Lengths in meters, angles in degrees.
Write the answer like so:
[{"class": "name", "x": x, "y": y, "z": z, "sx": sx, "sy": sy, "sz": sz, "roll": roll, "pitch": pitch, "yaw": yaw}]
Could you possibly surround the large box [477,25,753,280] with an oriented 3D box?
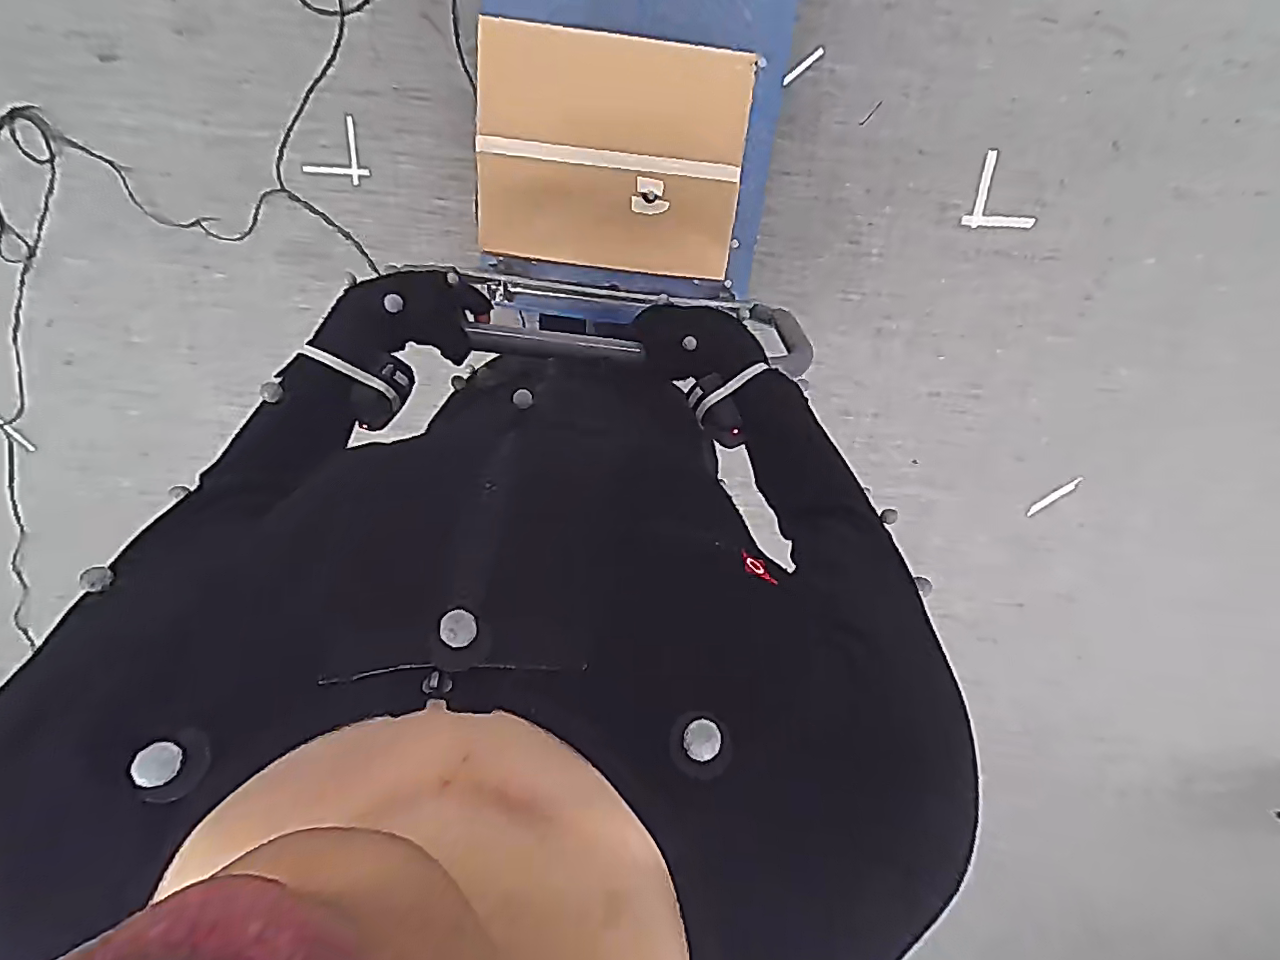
[{"class": "large box", "x": -0.052, "y": -0.539, "z": 0.964, "sx": 0.408, "sy": 0.320, "sz": 0.320, "roll": 5, "pitch": 112, "yaw": -3}]
